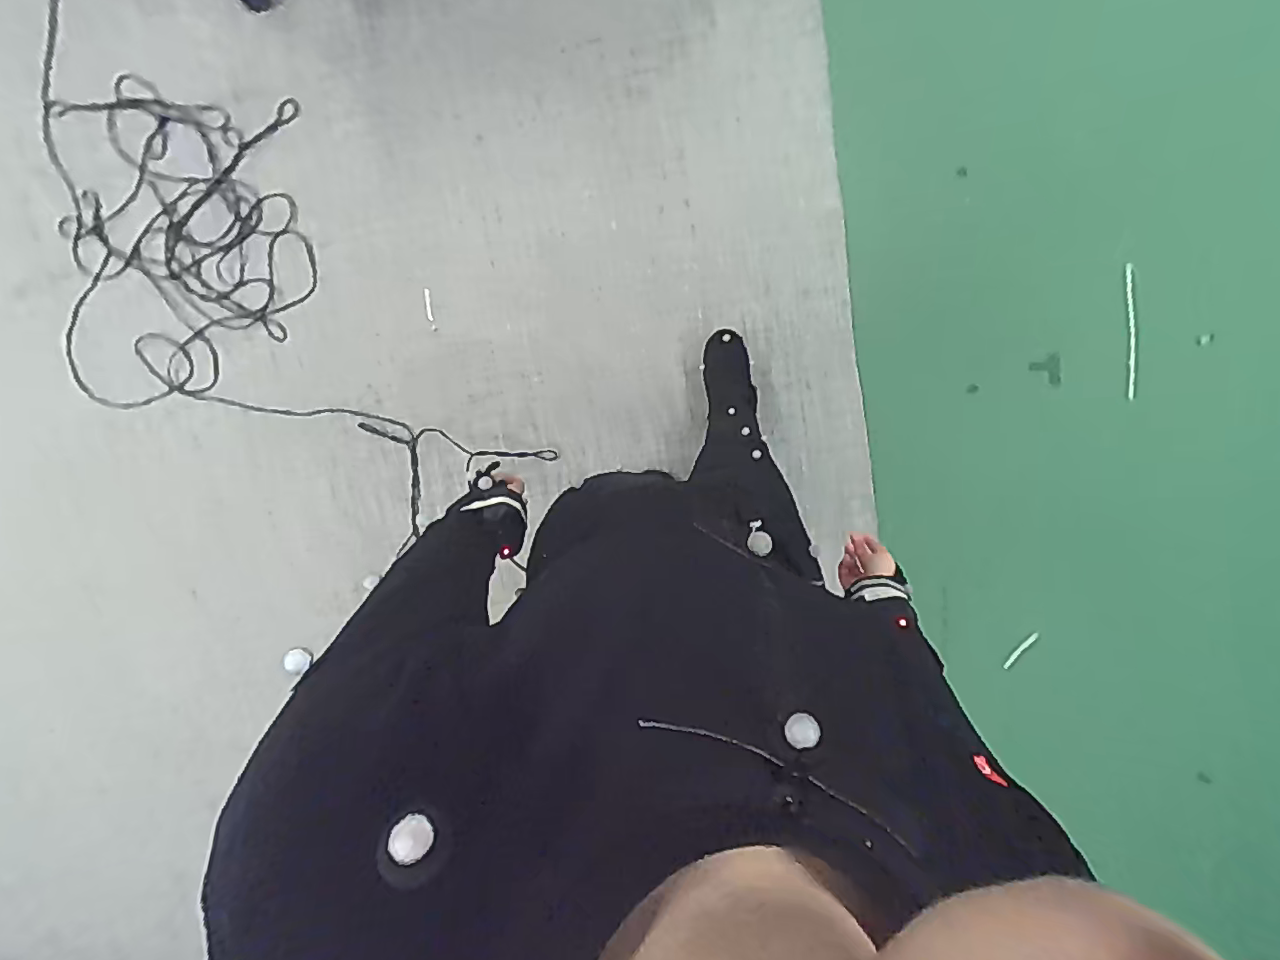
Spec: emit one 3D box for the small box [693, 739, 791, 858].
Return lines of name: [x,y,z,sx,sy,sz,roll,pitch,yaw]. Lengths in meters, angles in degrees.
small box: [0.248,0.795,1.370,0.179,0.176,0.168,27,98,-5]
